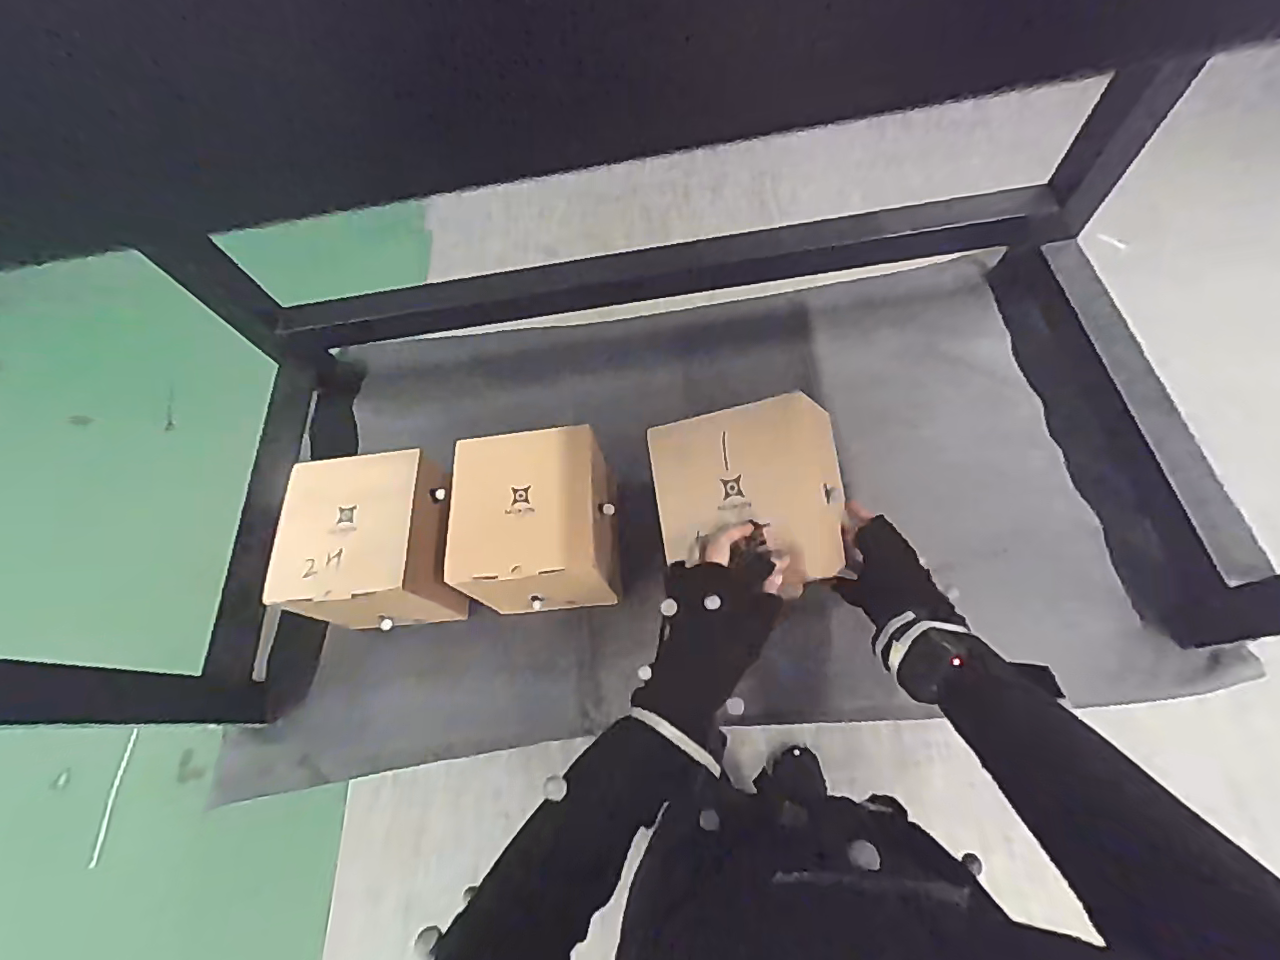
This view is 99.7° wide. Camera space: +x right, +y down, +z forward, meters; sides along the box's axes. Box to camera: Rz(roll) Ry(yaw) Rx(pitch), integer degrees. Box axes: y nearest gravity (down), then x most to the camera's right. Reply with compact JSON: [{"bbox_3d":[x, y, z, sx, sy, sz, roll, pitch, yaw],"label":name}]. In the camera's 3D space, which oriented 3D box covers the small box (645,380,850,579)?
[{"bbox_3d":[0.127,0.005,0.604,0.168,0.176,0.179,-13,82,27],"label":"small box"}]
